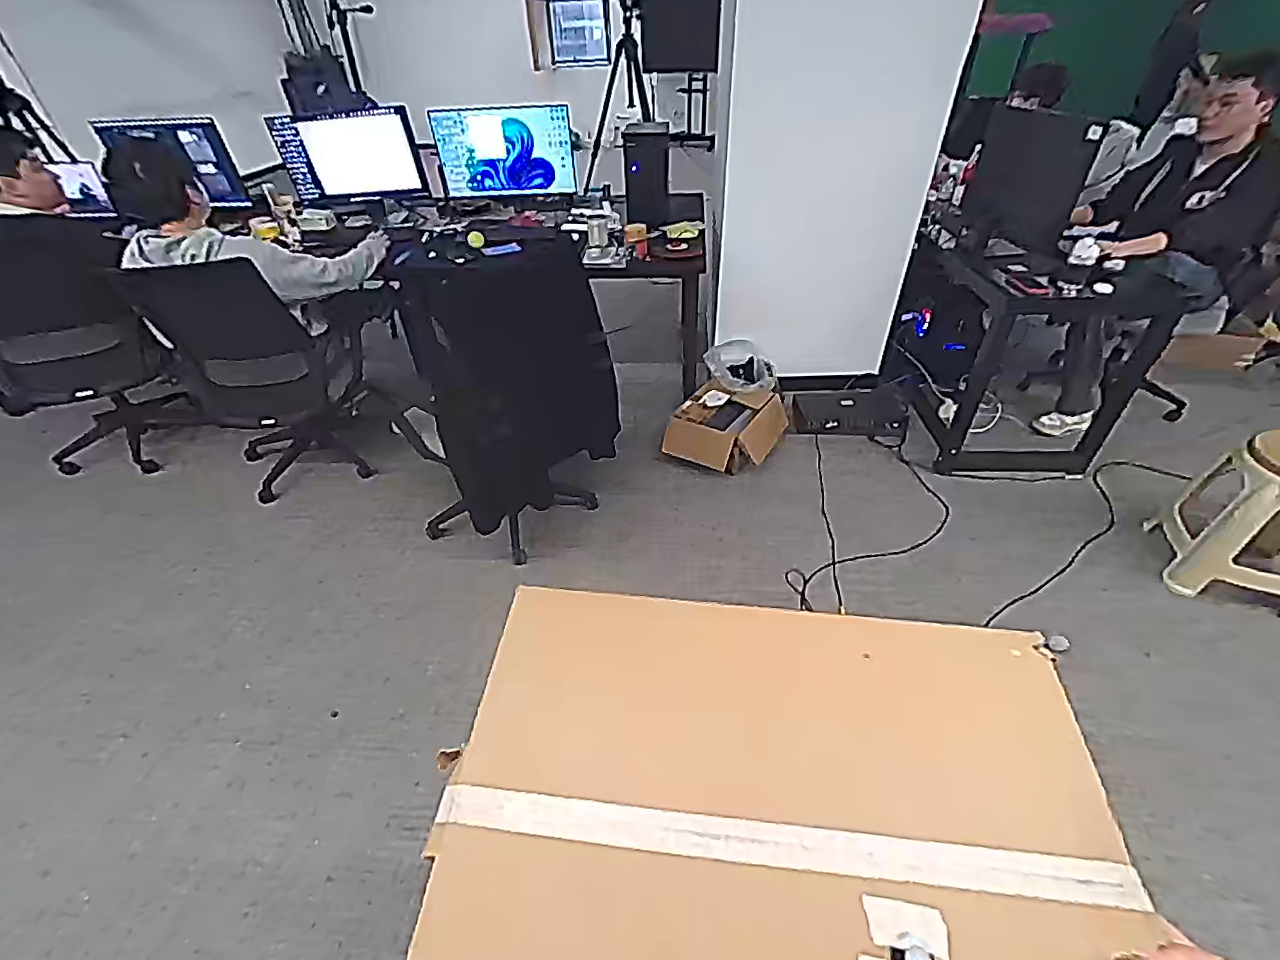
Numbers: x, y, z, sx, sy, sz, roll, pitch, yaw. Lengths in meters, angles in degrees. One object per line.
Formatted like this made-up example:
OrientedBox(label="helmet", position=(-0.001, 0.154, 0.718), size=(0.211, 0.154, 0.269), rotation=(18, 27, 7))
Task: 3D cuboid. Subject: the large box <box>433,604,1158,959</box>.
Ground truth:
OrientedBox(label="large box", position=(0.088, 0.325, 0.441), size=(0.408, 0.320, 0.320), rotation=(4, 50, 4))
